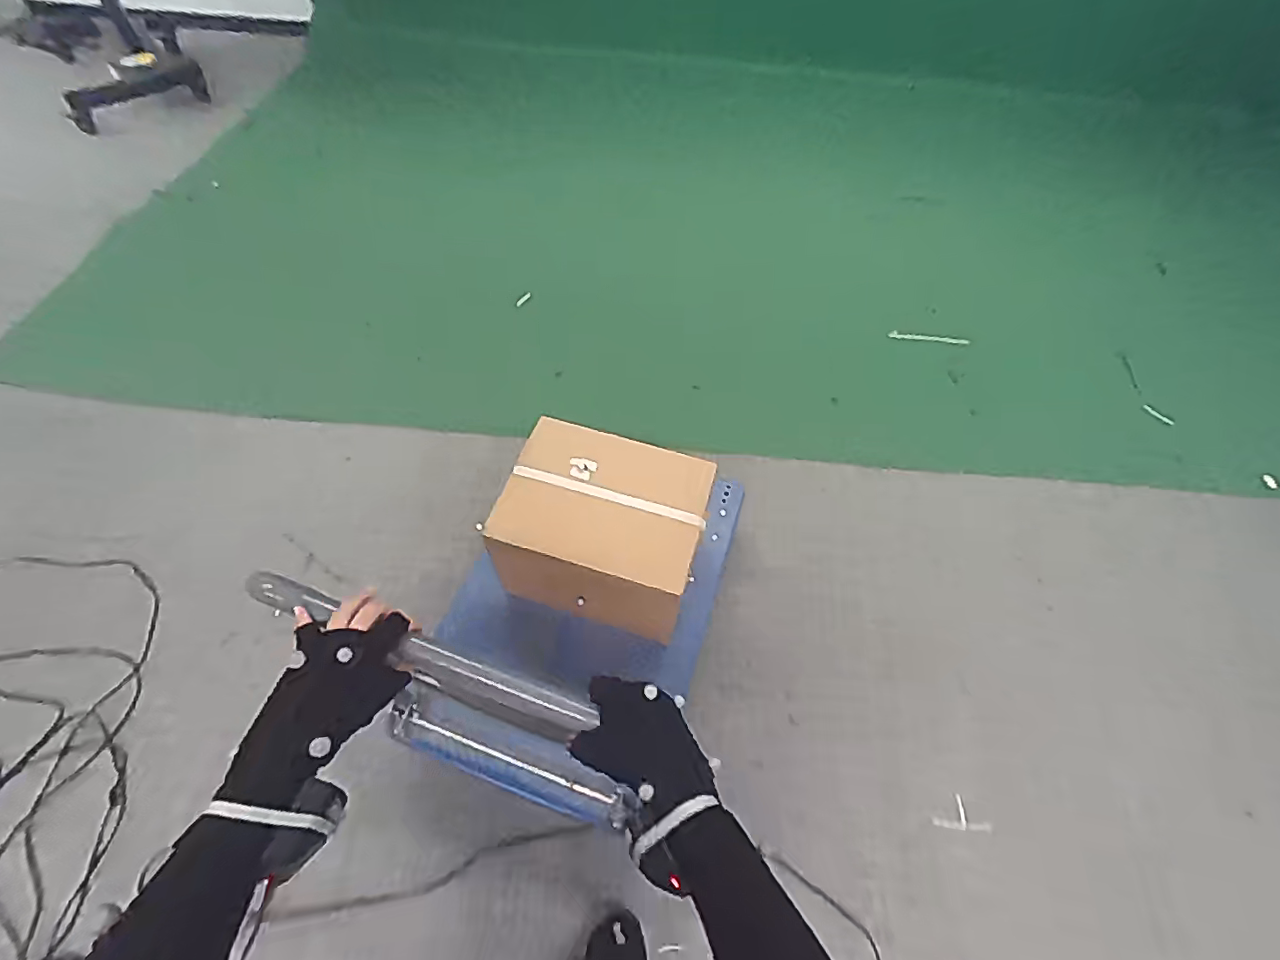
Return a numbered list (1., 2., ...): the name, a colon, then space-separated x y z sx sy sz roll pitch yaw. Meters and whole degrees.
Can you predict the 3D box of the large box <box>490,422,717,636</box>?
1. large box: -0.064 0.117 1.230 0.408 0.320 0.320 15 56 8
